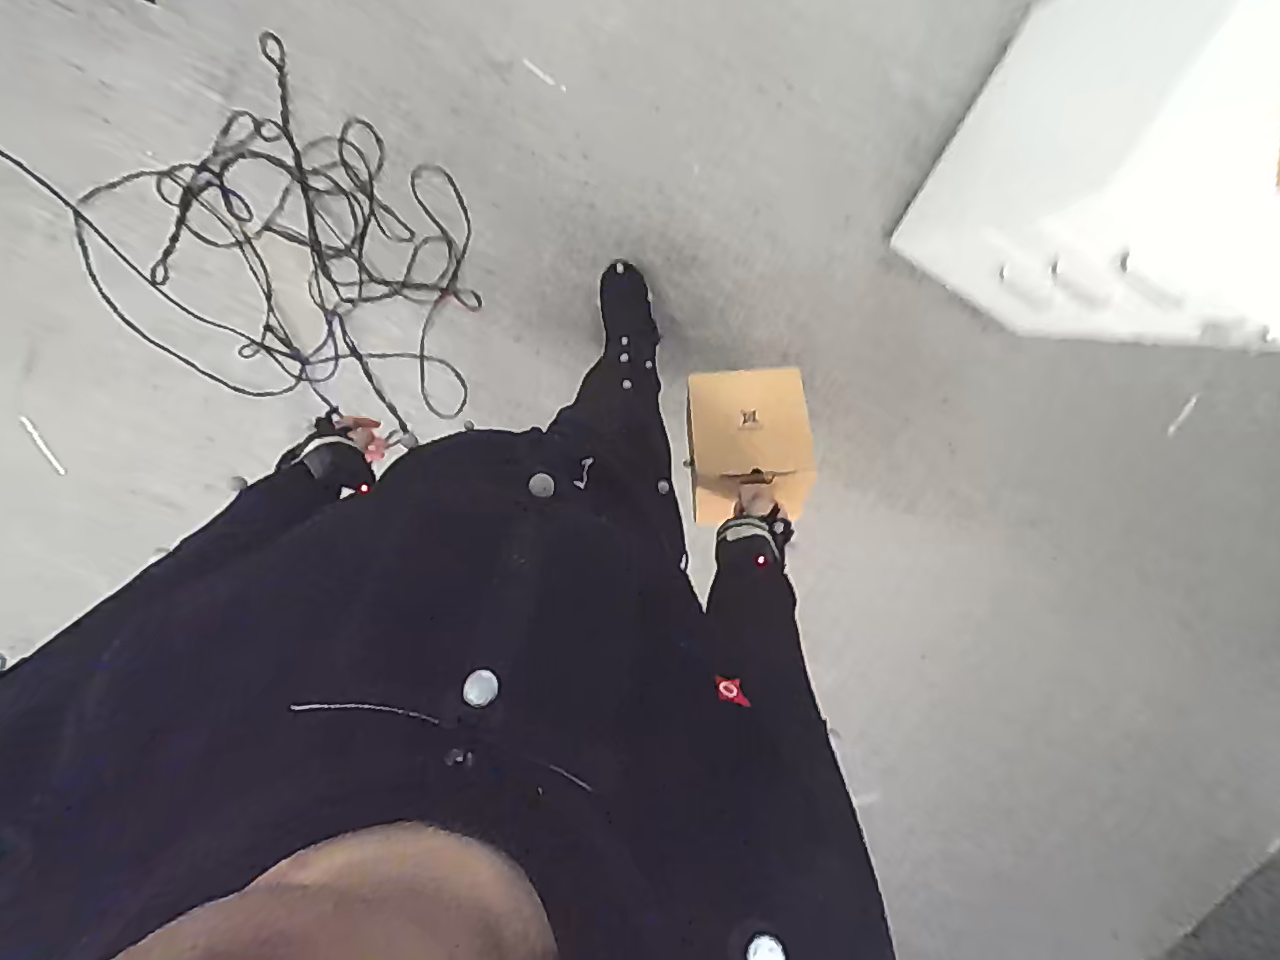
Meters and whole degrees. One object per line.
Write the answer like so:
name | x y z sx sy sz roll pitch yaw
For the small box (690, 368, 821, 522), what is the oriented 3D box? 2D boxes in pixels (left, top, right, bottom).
small box | 0.164 -0.049 0.832 0.168 0.176 0.179 -3 63 3
